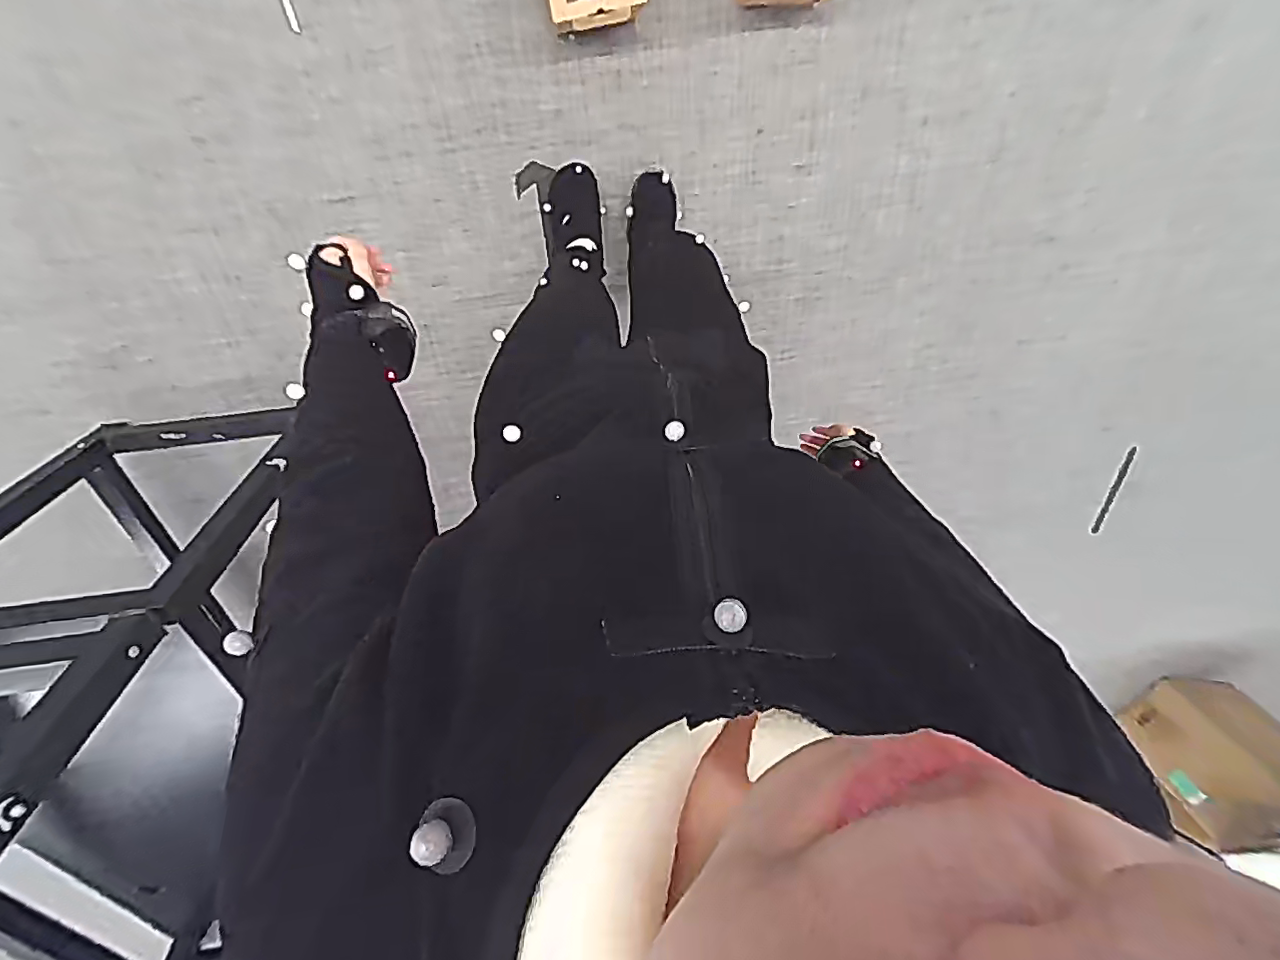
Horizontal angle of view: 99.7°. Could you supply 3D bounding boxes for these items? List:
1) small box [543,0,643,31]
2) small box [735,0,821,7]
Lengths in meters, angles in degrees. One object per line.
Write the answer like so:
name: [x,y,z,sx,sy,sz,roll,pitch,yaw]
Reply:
small box: [-0.096,-0.897,0.925,0.168,0.176,0.179,-13,124,-1]
small box: [0.274,-0.953,0.947,0.179,0.176,0.168,-5,124,-5]
